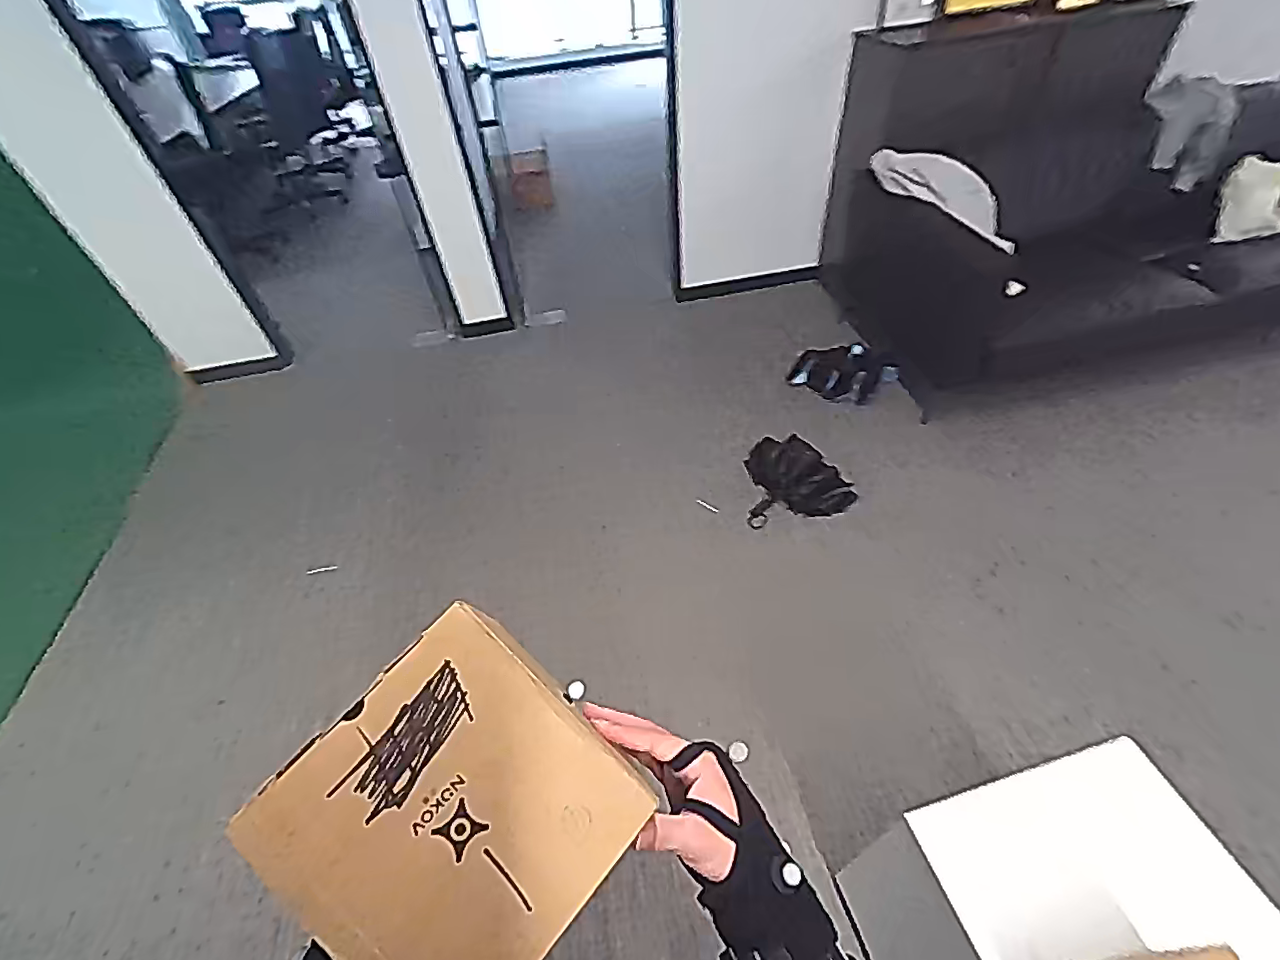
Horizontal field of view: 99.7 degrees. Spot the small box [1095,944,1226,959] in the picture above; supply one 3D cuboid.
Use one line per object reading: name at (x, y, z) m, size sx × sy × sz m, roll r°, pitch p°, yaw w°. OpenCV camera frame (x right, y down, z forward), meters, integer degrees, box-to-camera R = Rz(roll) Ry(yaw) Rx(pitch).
small box at (0.549, 0.623, 0.571) m, size 0.179 × 0.176 × 0.168 m, roll -10°, pitch 47°, yaw -7°
